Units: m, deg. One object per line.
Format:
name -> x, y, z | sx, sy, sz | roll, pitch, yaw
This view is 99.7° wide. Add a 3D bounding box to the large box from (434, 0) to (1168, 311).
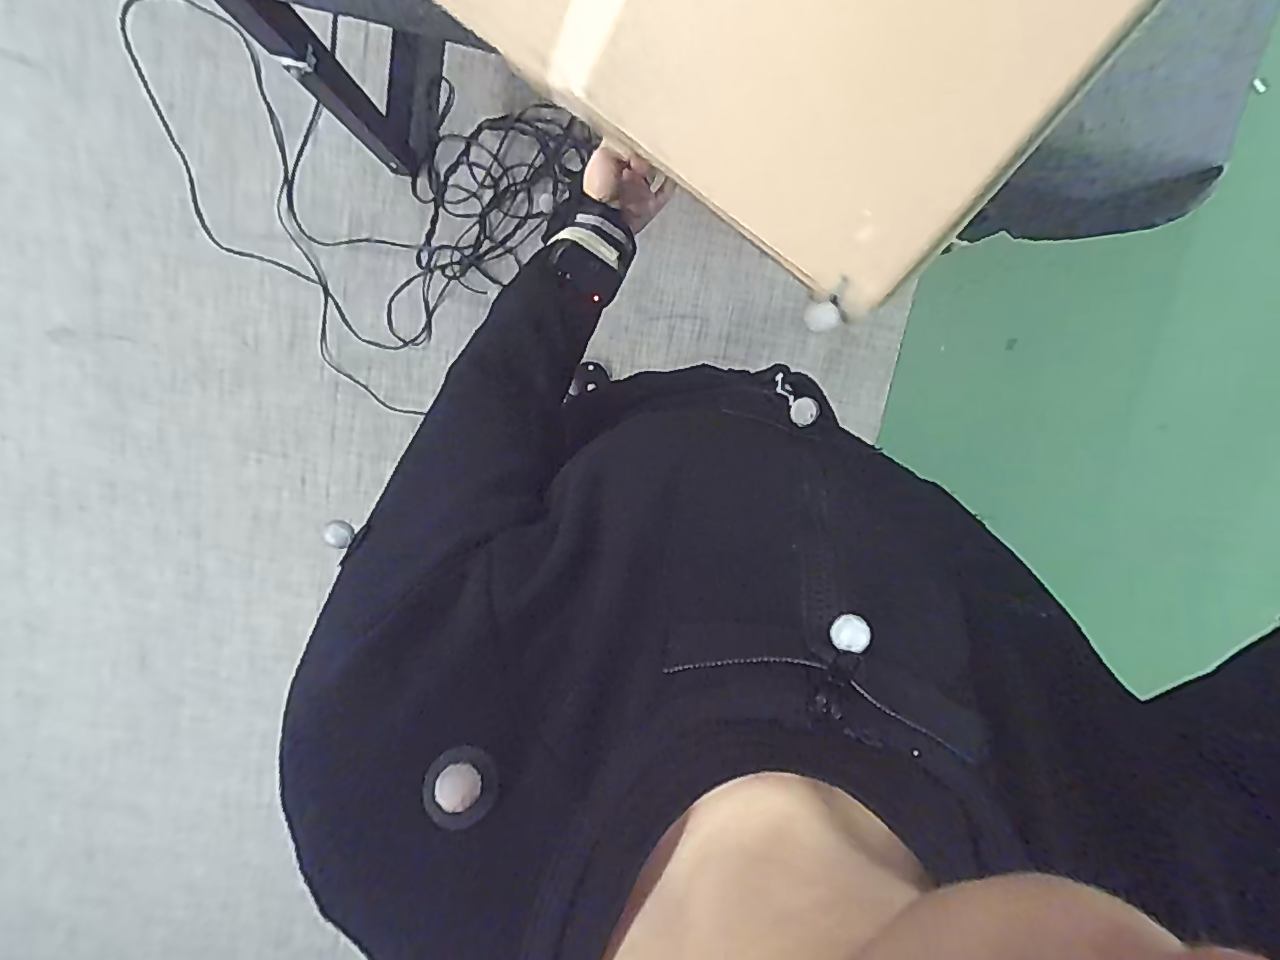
large box -> 0.149, -0.355, 0.273 | 0.320, 0.320, 0.408 | 41, 122, 9
